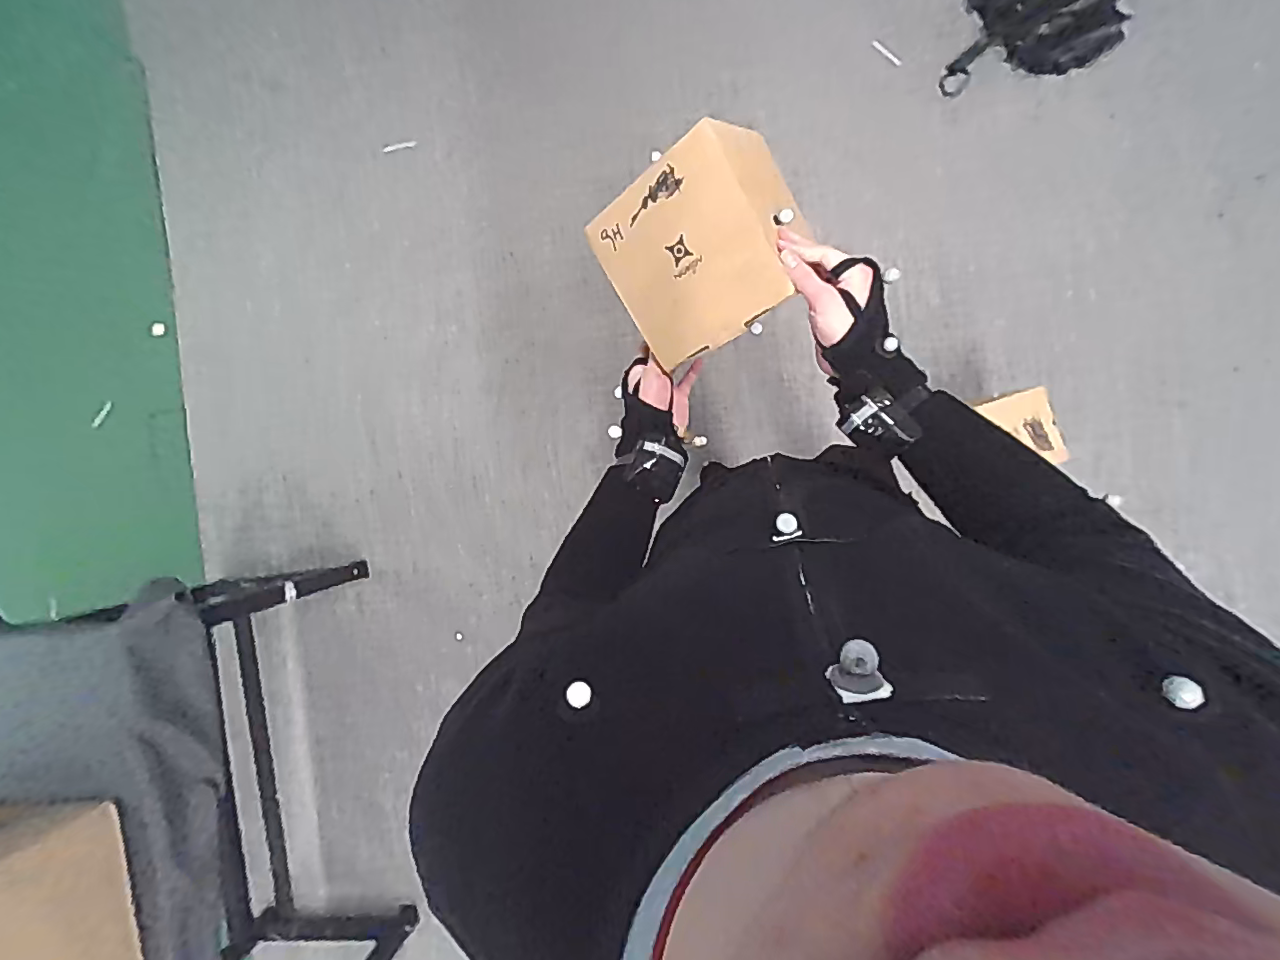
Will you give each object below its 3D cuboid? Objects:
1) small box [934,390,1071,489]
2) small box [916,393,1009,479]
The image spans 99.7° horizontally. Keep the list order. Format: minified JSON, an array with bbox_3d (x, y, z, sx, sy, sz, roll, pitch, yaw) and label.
[{"bbox_3d":[0.788,-0.088,1.192,0.179,0.176,0.168,-18,90,12],"label":"small box"},{"bbox_3d":[0.818,-0.103,1.353,0.179,0.176,0.168,-20,90,9],"label":"small box"}]
